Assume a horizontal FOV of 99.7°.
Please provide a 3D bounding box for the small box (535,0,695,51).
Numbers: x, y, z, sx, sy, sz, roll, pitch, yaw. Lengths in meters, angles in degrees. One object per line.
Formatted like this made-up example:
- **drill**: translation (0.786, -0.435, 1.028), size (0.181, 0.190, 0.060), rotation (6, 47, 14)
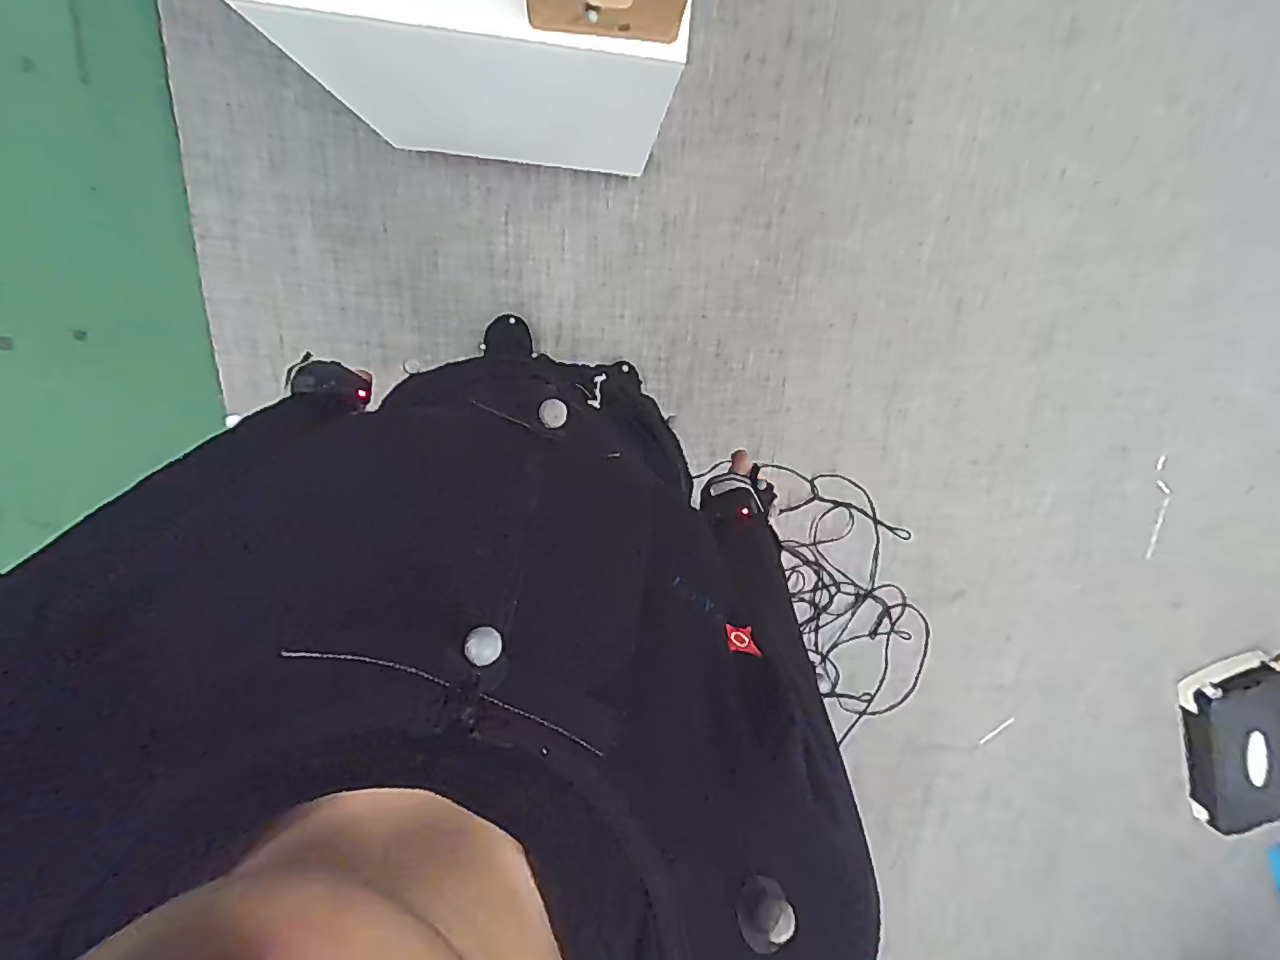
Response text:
- **small box**: translation (-0.023, -0.558, 0.513), size (0.168, 0.176, 0.179), rotation (2, 106, -6)
